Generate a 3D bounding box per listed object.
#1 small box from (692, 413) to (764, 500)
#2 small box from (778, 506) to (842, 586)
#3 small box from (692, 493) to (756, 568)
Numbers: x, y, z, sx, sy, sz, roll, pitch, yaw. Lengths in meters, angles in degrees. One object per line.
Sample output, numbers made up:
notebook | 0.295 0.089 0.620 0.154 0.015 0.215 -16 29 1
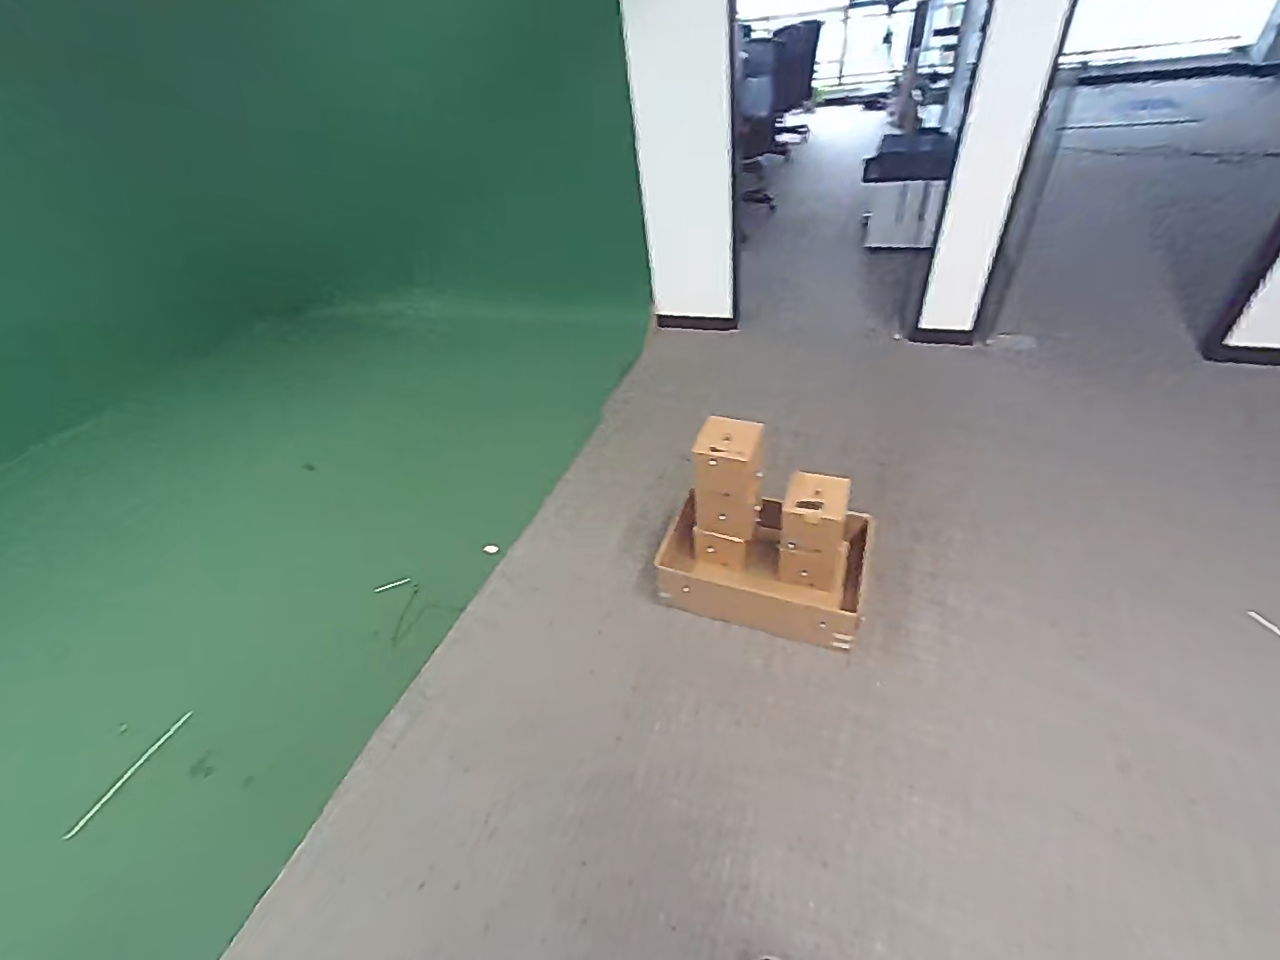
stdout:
small box | 0.260 -0.071 1.594 0.168 0.176 0.179 12 46 22
small box | 0.540 0.213 1.721 0.168 0.176 0.179 10 46 21
small box | 0.287 0.168 1.819 0.168 0.176 0.179 14 47 22
